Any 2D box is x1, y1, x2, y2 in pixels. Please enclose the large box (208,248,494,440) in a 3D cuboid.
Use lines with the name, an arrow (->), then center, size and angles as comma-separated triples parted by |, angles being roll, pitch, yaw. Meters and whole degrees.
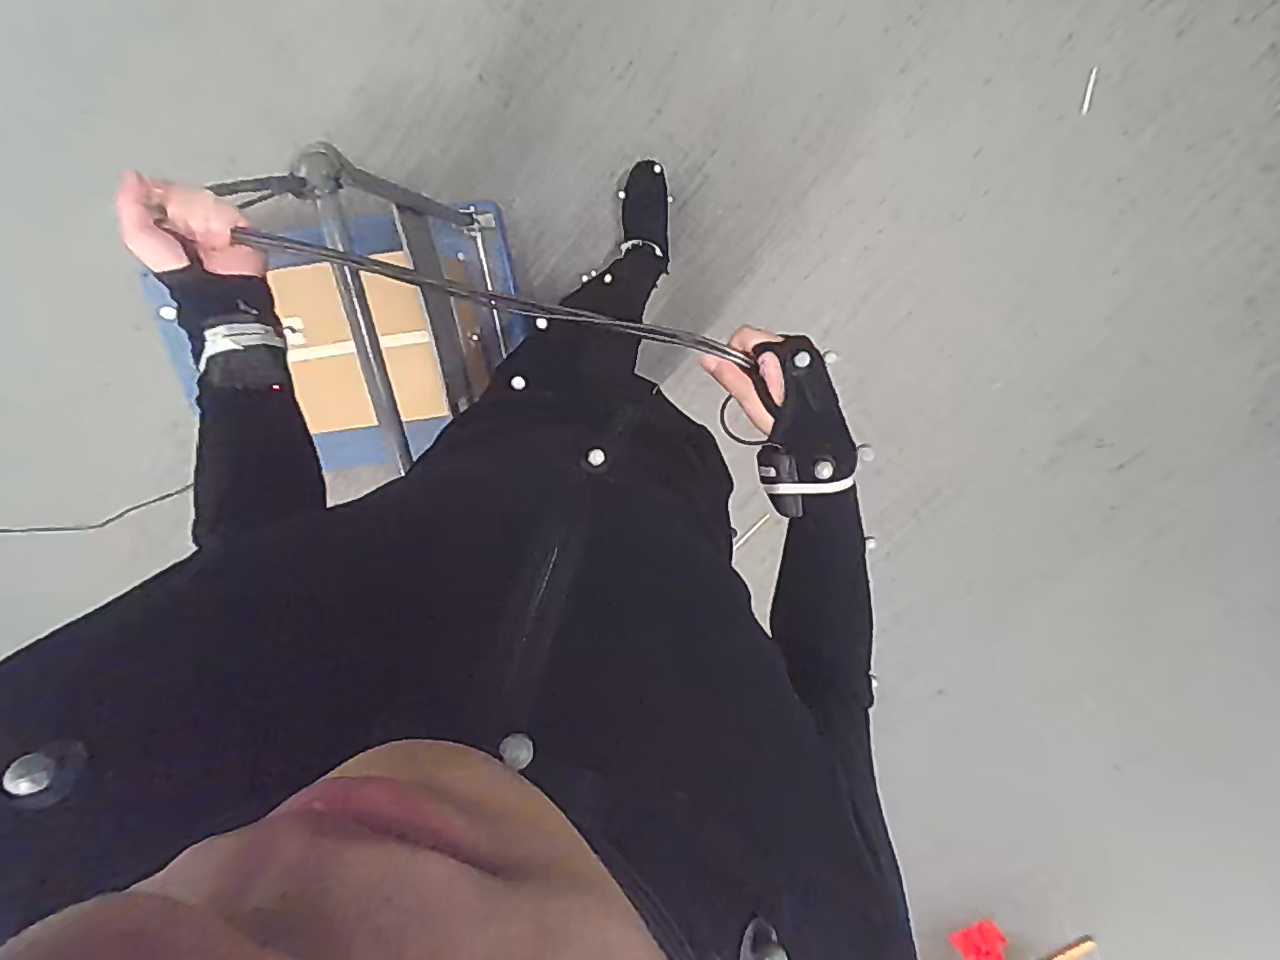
large box -> -0.582, -0.300, 1.177 | 0.408, 0.320, 0.320 | -8, 108, 3
